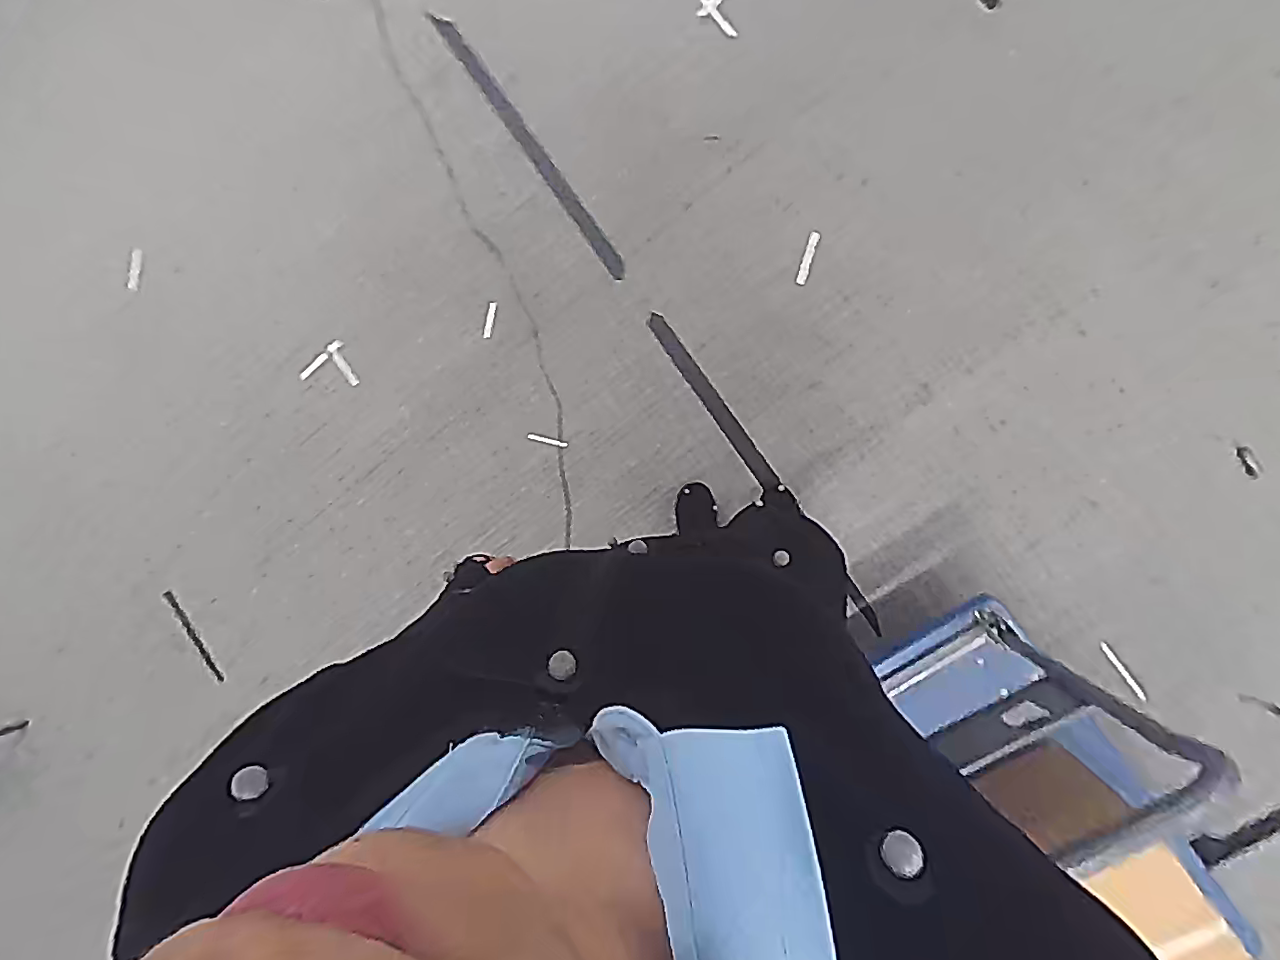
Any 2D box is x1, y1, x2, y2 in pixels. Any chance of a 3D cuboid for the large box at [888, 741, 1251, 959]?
[{"bbox_3d":[0.766,0.785,1.021,0.408,0.320,0.320,-34,85,9],"label":"large box"}]
